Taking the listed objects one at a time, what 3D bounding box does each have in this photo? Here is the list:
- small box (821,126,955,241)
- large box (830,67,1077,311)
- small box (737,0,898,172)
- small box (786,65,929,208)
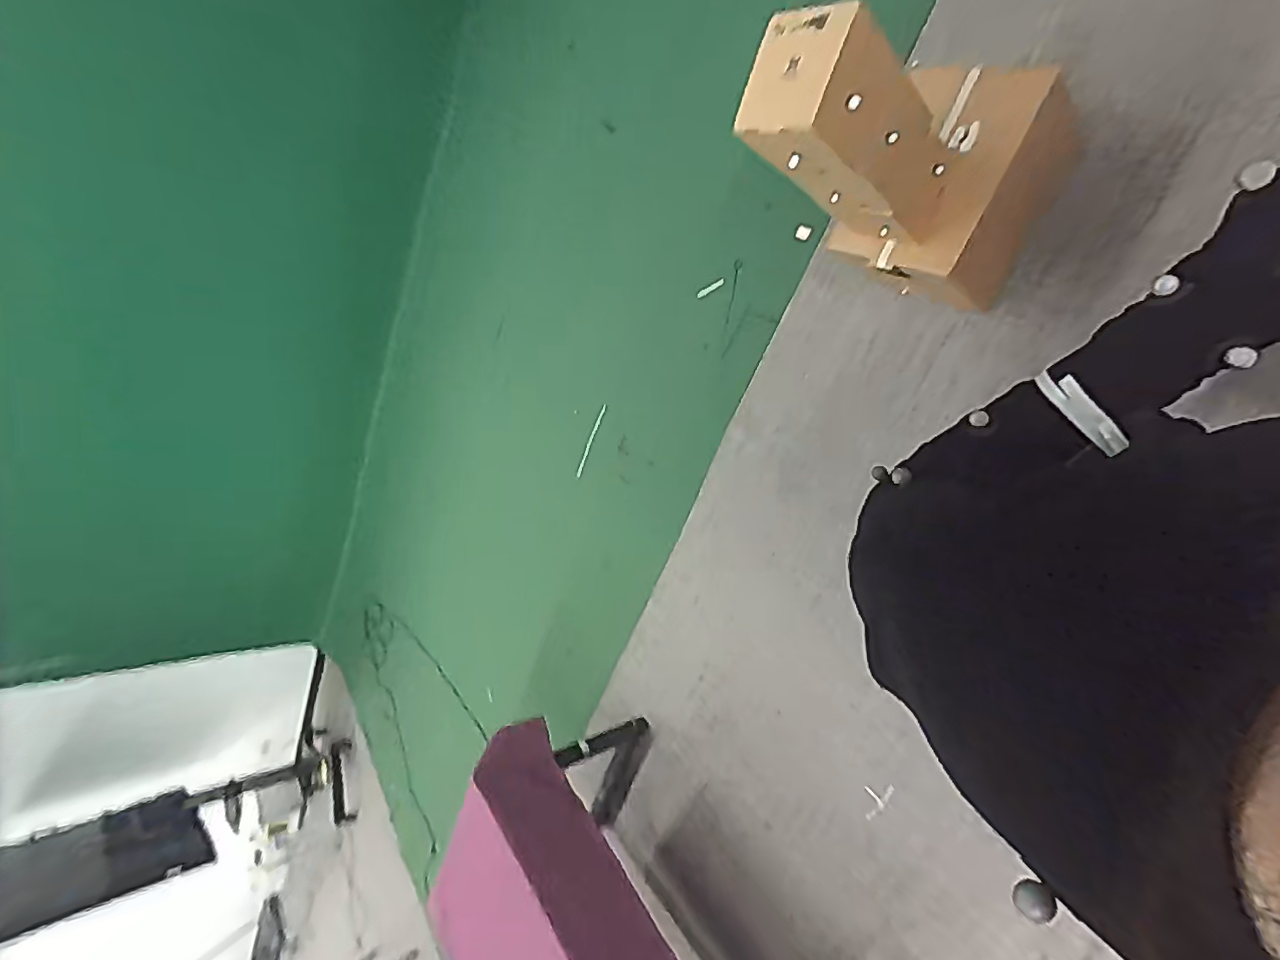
[{"bbox_3d":[0.527,-0.626,1.144,0.179,0.176,0.168,38,113,40],"label":"small box"},{"bbox_3d":[0.735,-0.669,1.284,0.320,0.320,0.408,38,113,39],"label":"large box"},{"bbox_3d":[0.300,-0.644,0.908,0.168,0.176,0.179,35,112,40],"label":"small box"},{"bbox_3d":[0.415,-0.639,1.026,0.168,0.176,0.179,32,109,40],"label":"small box"}]
